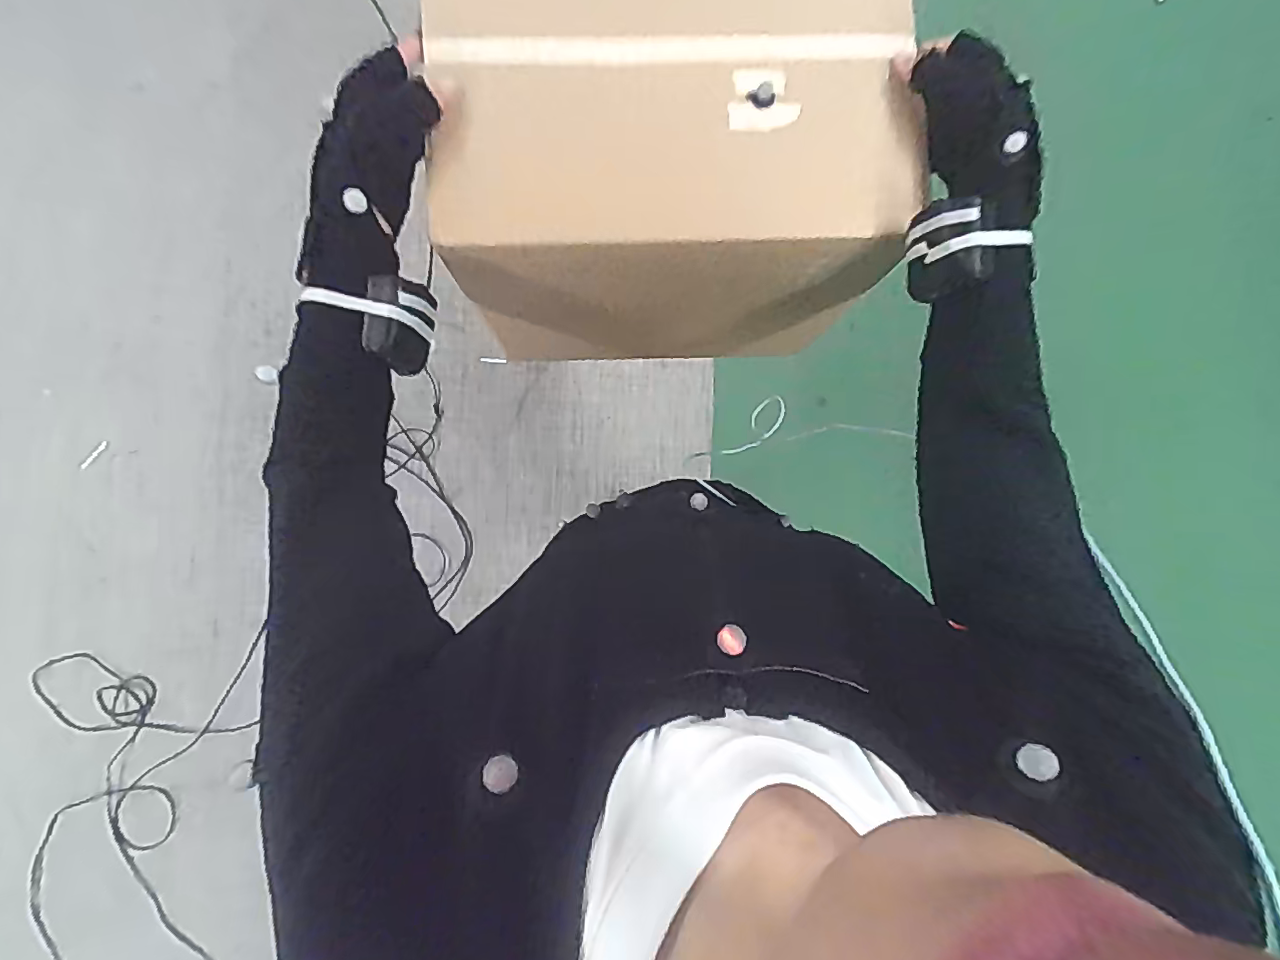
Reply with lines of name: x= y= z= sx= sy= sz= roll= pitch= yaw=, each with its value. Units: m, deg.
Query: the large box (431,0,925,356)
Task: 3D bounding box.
large box: x=0.020 y=-0.338 z=0.593 sx=0.408 sy=0.320 sz=0.320 roll=-2 pitch=85 yaw=-4
